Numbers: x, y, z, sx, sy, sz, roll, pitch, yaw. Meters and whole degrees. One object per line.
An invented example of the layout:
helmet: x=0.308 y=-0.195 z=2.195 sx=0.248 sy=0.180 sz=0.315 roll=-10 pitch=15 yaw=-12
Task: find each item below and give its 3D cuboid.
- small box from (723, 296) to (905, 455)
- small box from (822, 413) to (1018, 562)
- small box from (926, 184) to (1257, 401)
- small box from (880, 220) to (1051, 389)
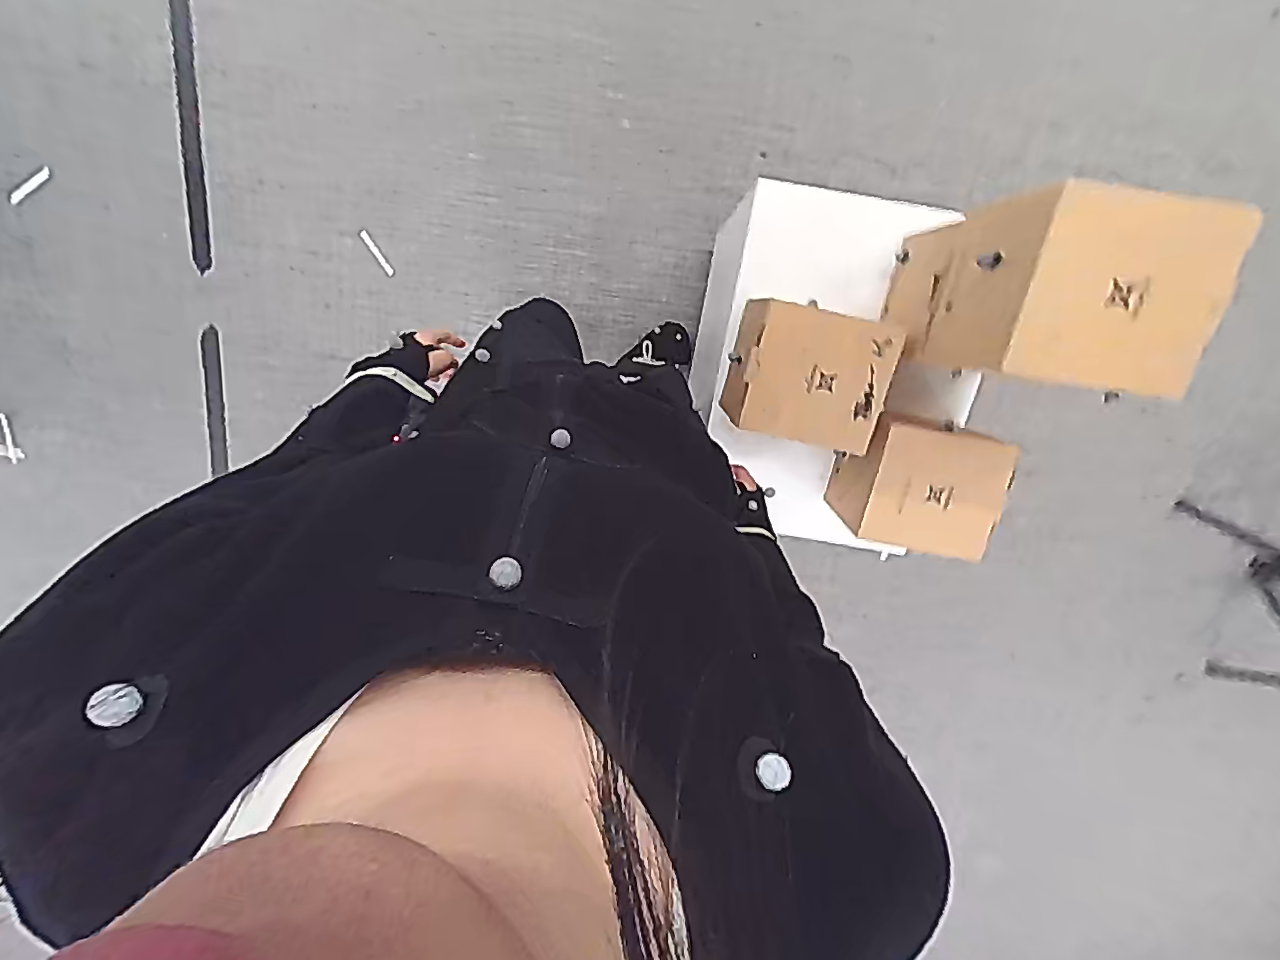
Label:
small box: x=0.222 y=-0.149 z=0.750 sx=0.179 sy=0.176 sz=0.168 roll=12 pitch=107 yaw=-2
small box: x=0.393 y=0.000 z=0.794 sx=0.179 sy=0.176 sz=0.168 roll=11 pitch=105 yaw=0
small box: x=0.435 y=-0.187 z=0.562 sx=0.179 sy=0.176 sz=0.168 roll=9 pitch=108 yaw=-1
small box: x=0.440 y=-0.228 z=0.719 sx=0.179 sy=0.176 sz=0.168 roll=11 pitch=108 yaw=-2
